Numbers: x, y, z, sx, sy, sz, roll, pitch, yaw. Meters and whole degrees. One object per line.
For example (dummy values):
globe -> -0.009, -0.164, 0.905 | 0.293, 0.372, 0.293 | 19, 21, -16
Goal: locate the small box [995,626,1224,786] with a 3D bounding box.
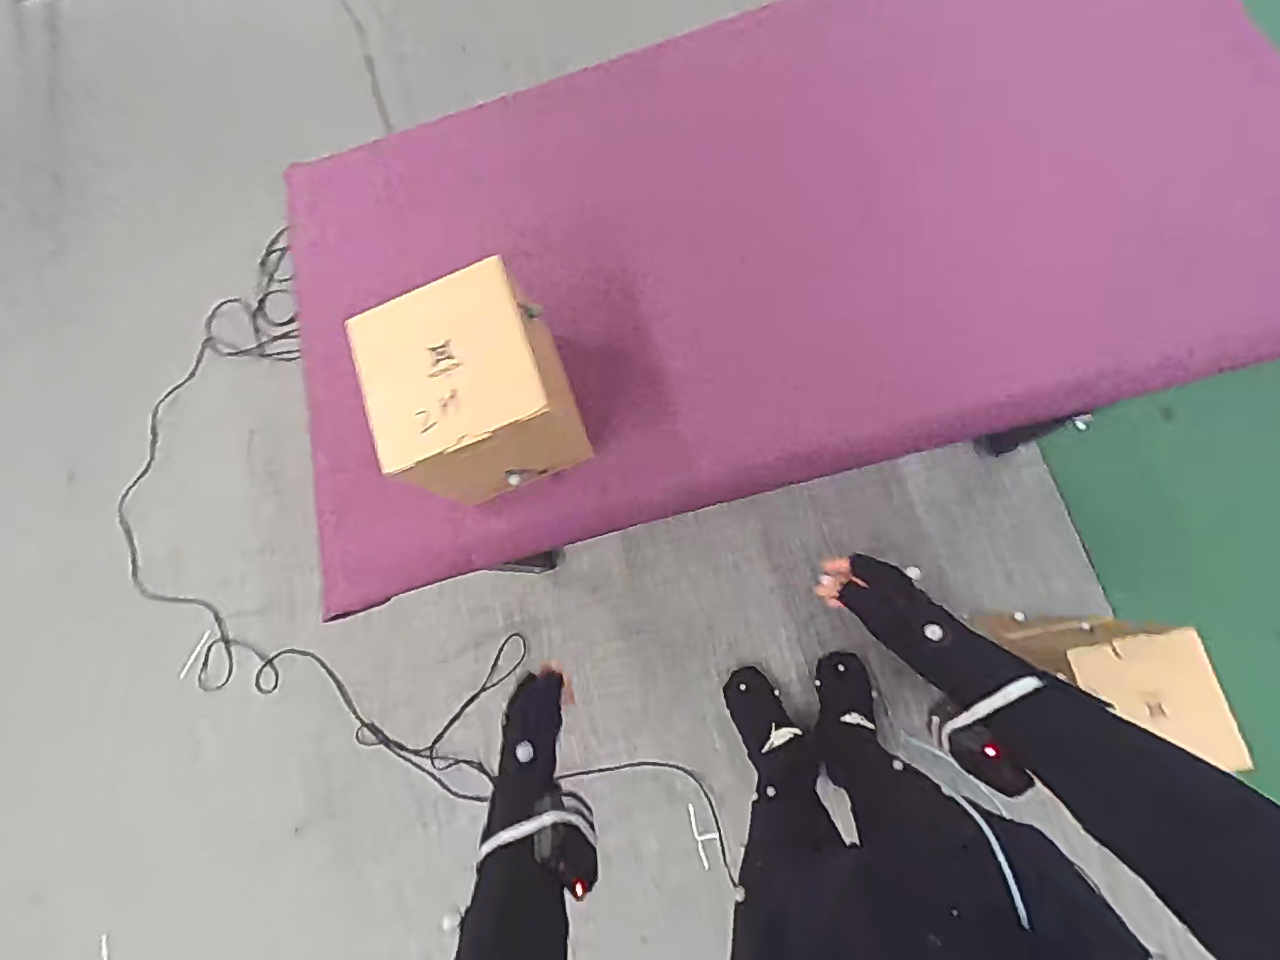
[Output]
small box -> 0.673, 0.322, 0.802 | 0.168, 0.176, 0.179 | -12, 77, 6

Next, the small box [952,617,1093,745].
small box -> 0.691, 0.347, 0.961 | 0.168, 0.176, 0.179 | -11, 77, 6

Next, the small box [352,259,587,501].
small box -> -0.173, -0.095, 0.589 | 0.168, 0.176, 0.179 | -21, 76, 4
